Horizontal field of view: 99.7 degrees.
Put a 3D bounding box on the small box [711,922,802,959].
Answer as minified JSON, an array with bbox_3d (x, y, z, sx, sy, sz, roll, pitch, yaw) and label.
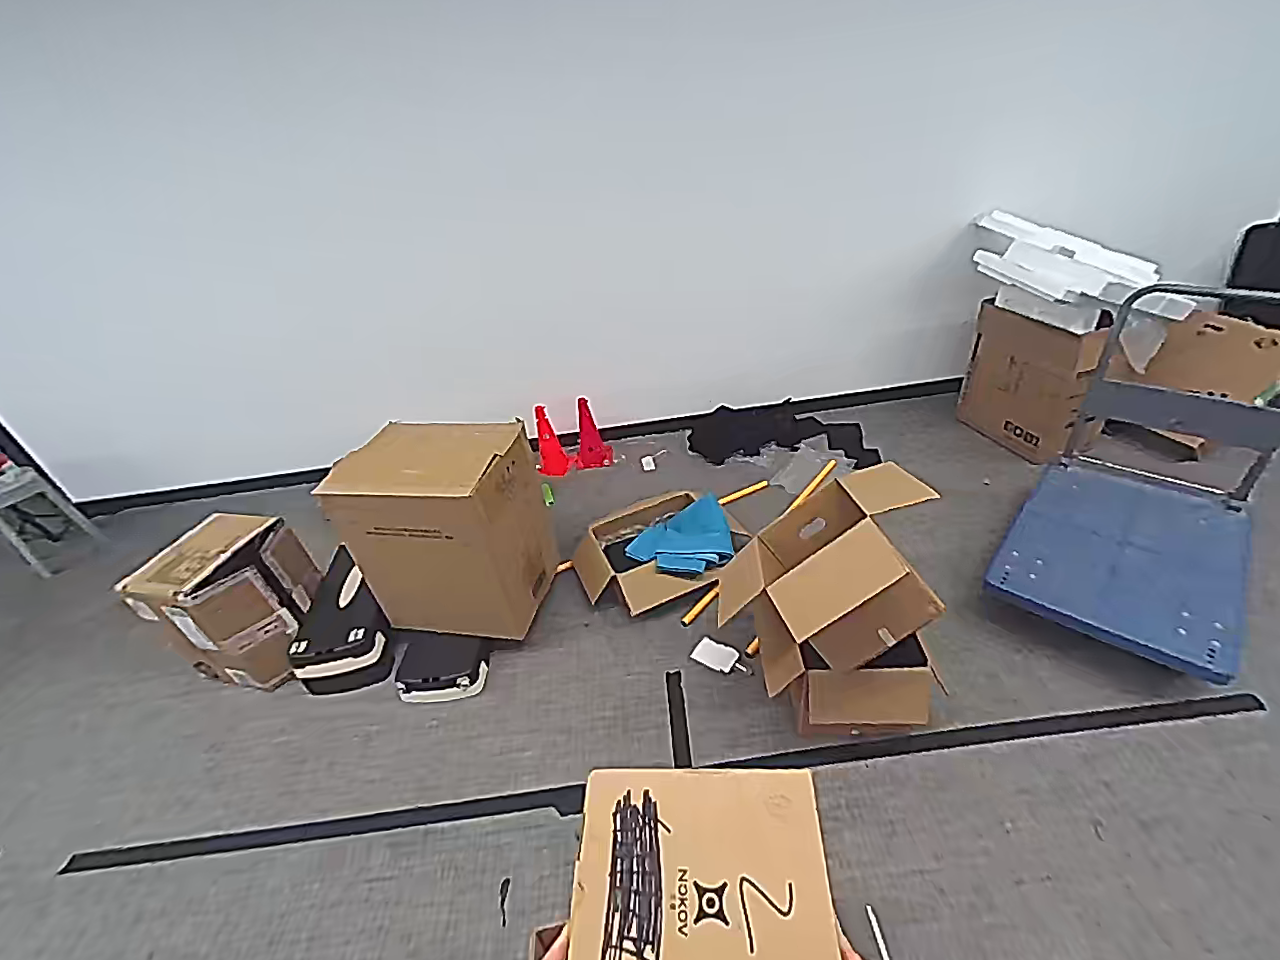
[{"bbox_3d":[0.235,0.985,1.020,0.168,0.176,0.179,-11,35,-2],"label":"small box"}]
